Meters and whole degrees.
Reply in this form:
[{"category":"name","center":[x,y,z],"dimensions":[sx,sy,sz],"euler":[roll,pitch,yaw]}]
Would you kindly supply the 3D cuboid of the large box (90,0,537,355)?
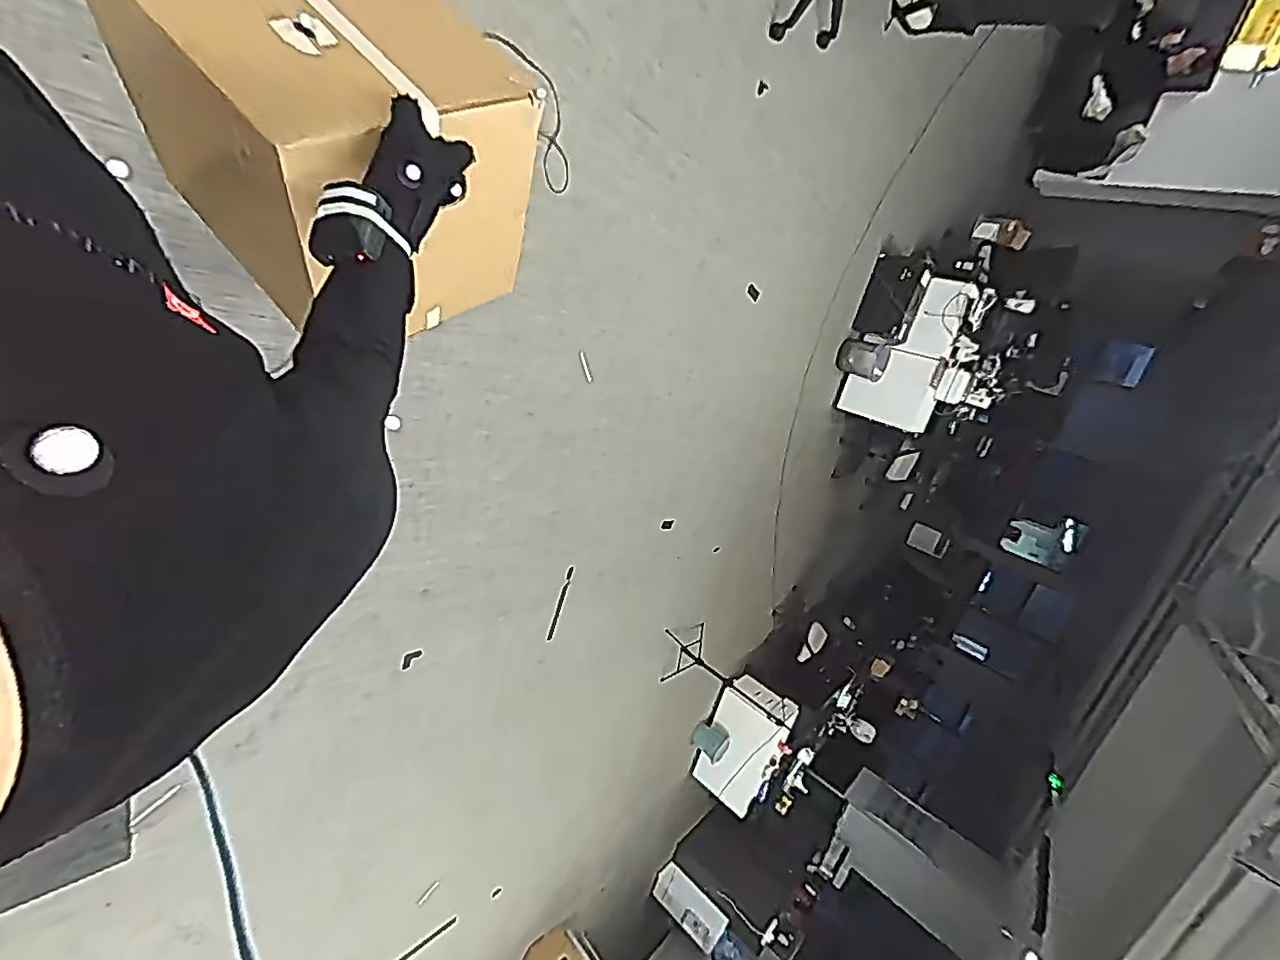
[{"category":"large box","center":[-0.407,-0.452,0.715],"dimensions":[0.320,0.408,0.320],"euler":[-39,172,-32]}]
